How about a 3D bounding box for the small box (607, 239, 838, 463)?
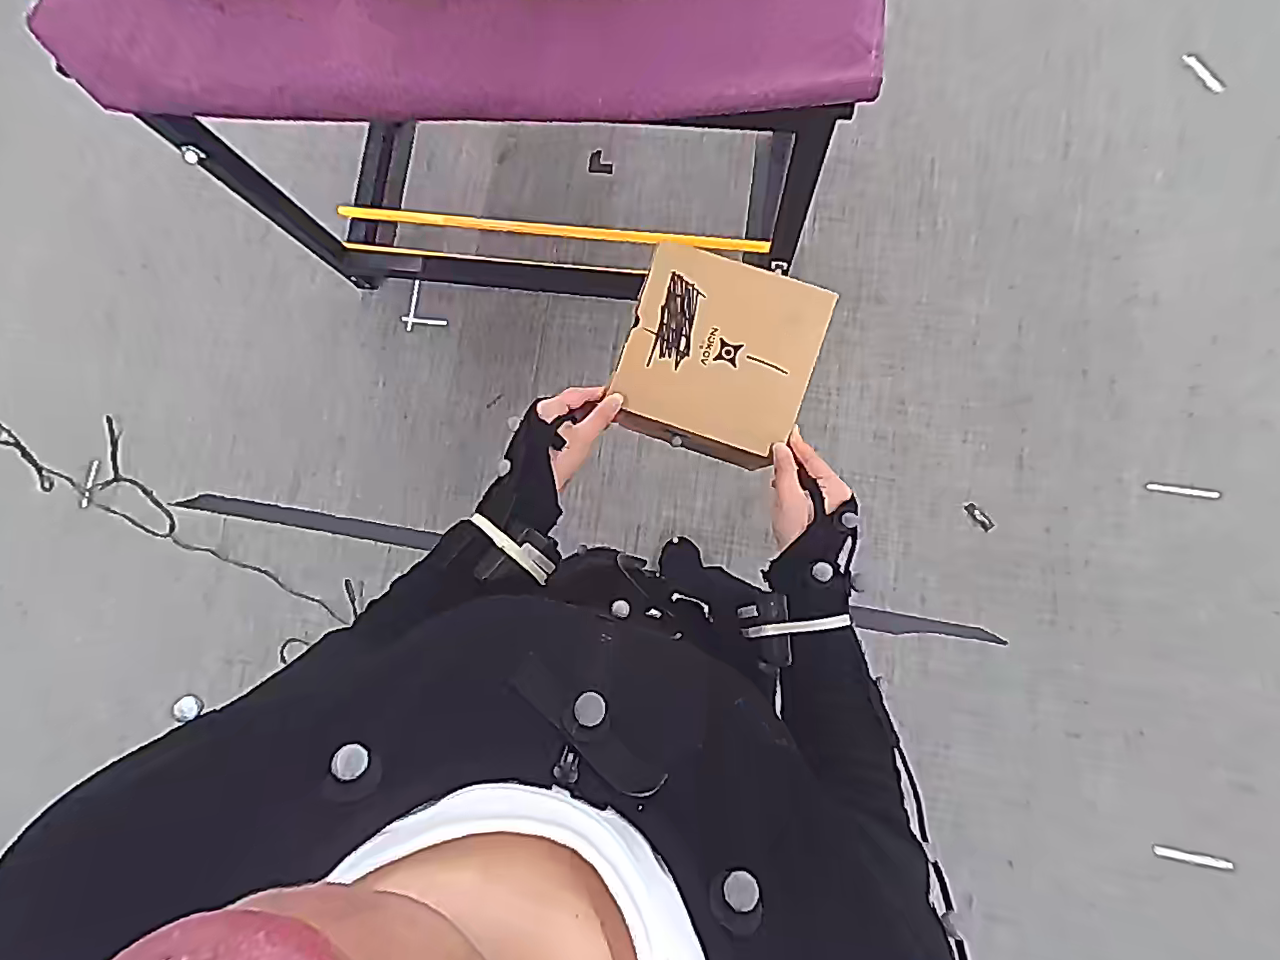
[{"bbox_3d":[0.079,-0.121,0.582,0.179,0.176,0.168,19,90,3],"label":"small box"}]
